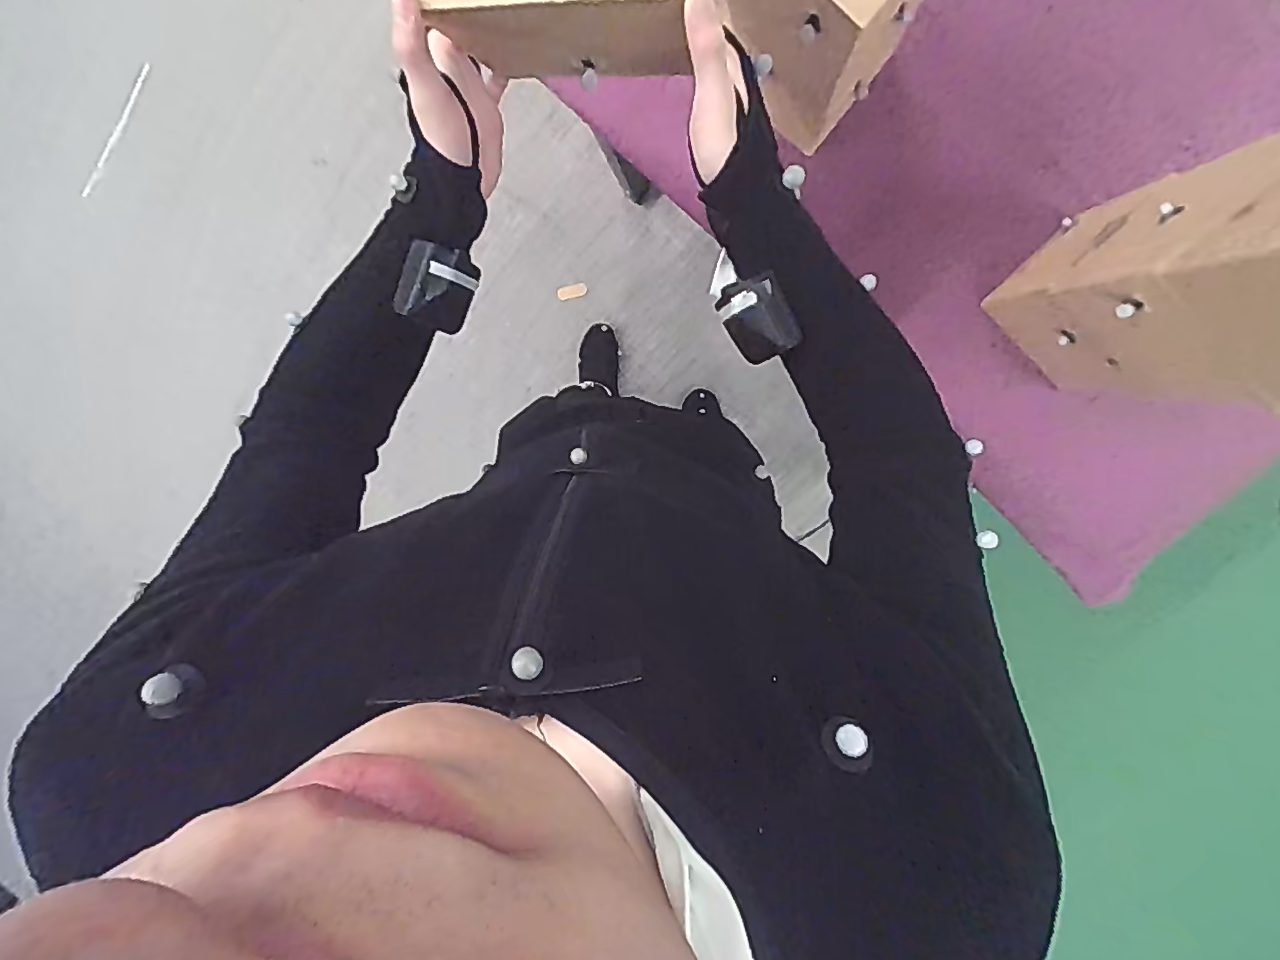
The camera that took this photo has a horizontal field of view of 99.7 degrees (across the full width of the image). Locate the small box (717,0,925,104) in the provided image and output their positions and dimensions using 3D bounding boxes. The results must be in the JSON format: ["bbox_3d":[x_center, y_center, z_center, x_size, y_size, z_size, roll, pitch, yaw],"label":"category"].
[{"bbox_3d":[0.191,-0.510,0.521,0.179,0.176,0.168,42,103,-2],"label":"small box"}]

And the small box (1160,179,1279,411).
[{"bbox_3d":[0.545,-0.151,0.378,0.168,0.176,0.179,-43,94,14],"label":"small box"}]

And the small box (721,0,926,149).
[{"bbox_3d":[0.220,-0.556,0.678,0.179,0.176,0.168,40,104,-1],"label":"small box"}]

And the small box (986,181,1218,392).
[{"bbox_3d":[0.597,-0.230,0.692,0.179,0.176,0.168,44,103,-3],"label":"small box"}]

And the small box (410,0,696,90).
[{"bbox_3d":[-0.047,-0.386,0.367,0.179,0.176,0.168,2,113,5],"label":"small box"}]
